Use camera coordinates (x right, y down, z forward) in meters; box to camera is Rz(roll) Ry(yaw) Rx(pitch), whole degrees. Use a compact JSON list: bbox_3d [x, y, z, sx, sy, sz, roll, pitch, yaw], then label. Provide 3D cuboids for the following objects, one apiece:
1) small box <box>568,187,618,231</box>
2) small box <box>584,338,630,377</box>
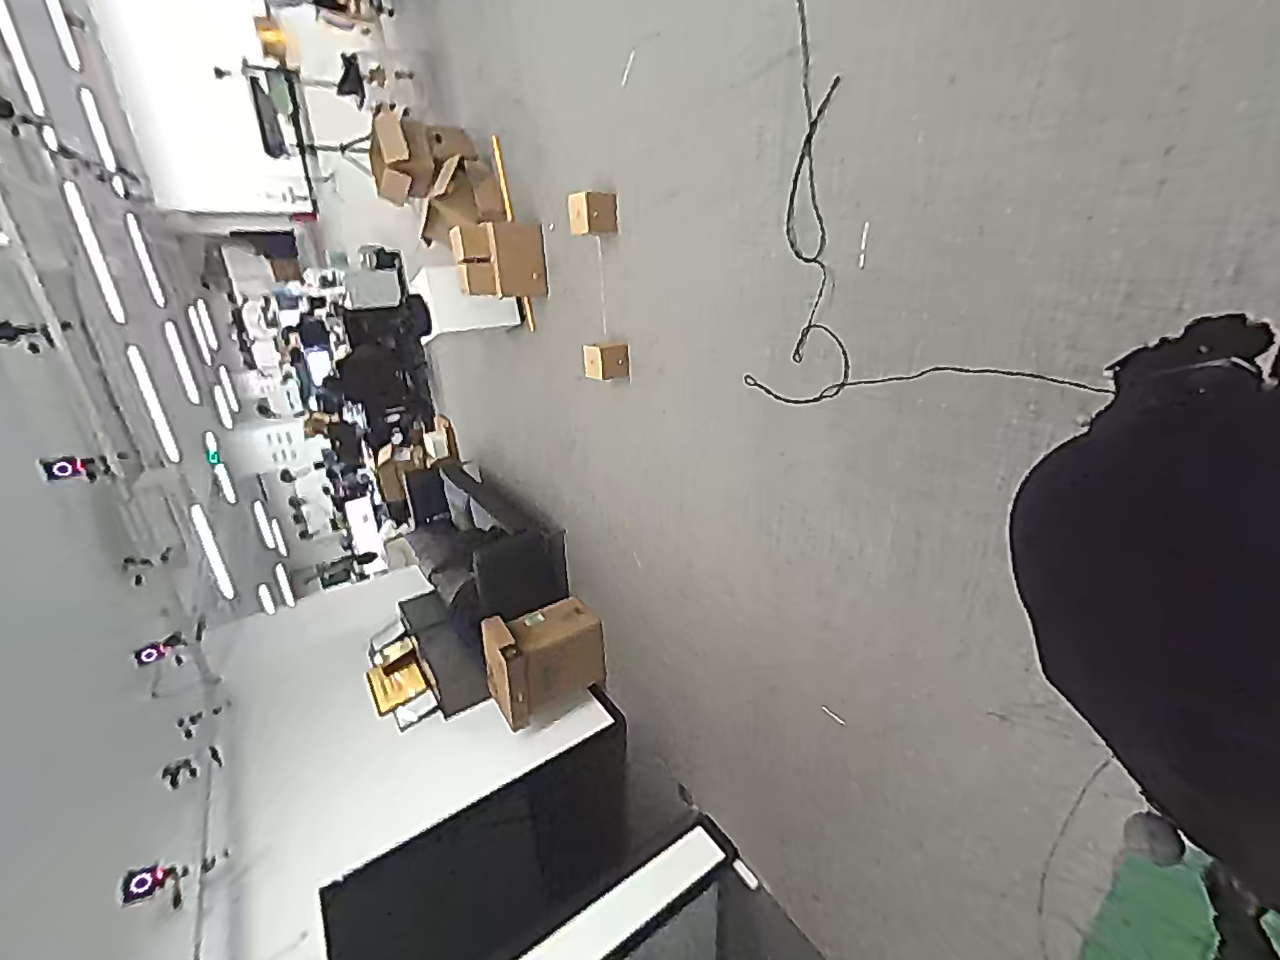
[{"bbox_3d":[-0.221,-1.275,2.551,0.168,0.176,0.179,26,127,50],"label":"small box"},{"bbox_3d":[-0.170,-0.639,2.801,0.179,0.176,0.168,26,127,51],"label":"small box"}]
